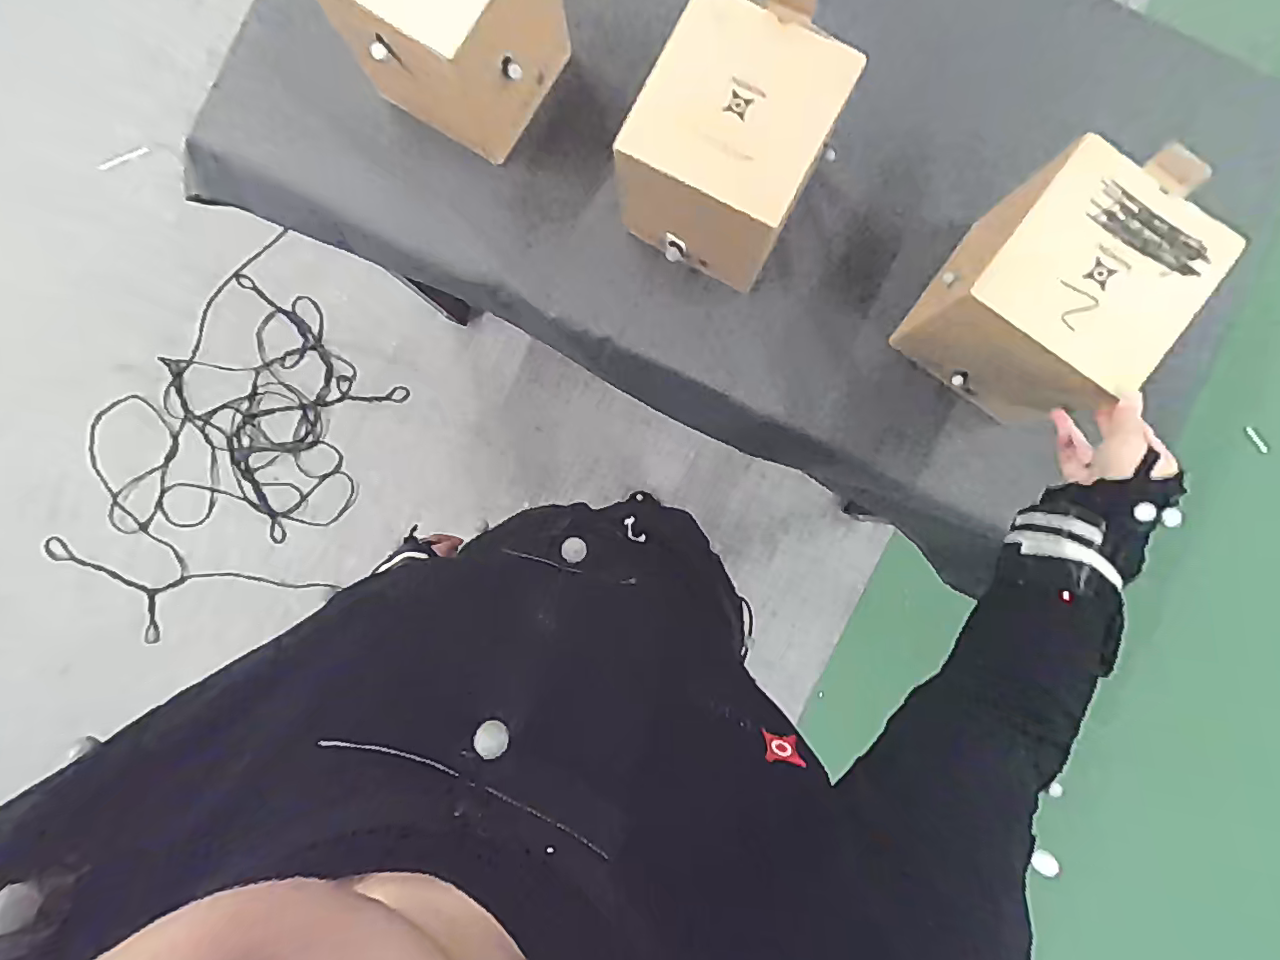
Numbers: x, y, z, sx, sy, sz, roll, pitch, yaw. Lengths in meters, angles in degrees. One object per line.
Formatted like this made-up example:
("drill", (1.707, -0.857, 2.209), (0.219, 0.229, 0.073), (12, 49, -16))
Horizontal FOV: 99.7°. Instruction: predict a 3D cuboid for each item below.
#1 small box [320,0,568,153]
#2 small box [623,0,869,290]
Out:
("small box", (-0.193, -0.487, 0.564), (0.179, 0.176, 0.168), (32, 90, 1))
("small box", (0.095, -0.332, 0.558), (0.168, 0.176, 0.179), (27, 90, 2))
